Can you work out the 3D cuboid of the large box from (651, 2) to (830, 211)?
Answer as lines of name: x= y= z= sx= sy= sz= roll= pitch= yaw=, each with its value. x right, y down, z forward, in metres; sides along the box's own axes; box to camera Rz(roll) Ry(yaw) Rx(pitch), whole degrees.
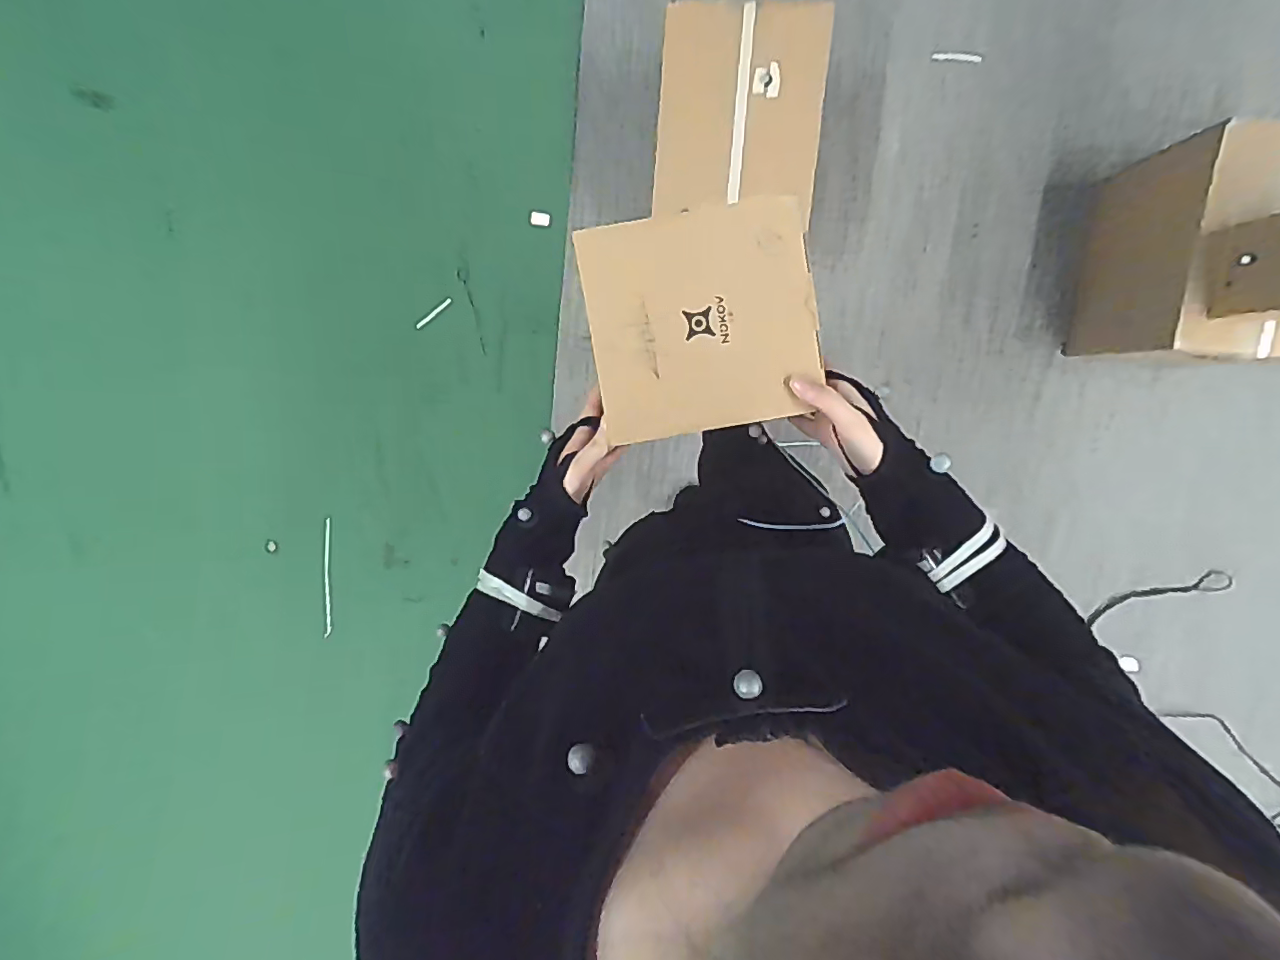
large box: x=0.201 y=-0.711 z=1.181 sx=0.320 sy=0.320 sz=0.408 roll=5 pitch=100 yaw=4

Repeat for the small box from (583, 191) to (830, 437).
small box: x=0.051 y=-0.135 z=0.495 sx=0.179 sy=0.176 sz=0.168 roll=-9 pitch=95 yaw=0

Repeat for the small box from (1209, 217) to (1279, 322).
small box: x=1.154 y=-0.362 z=0.918 sx=0.179 sy=0.176 sz=0.168 roll=4 pitch=101 yaw=6
